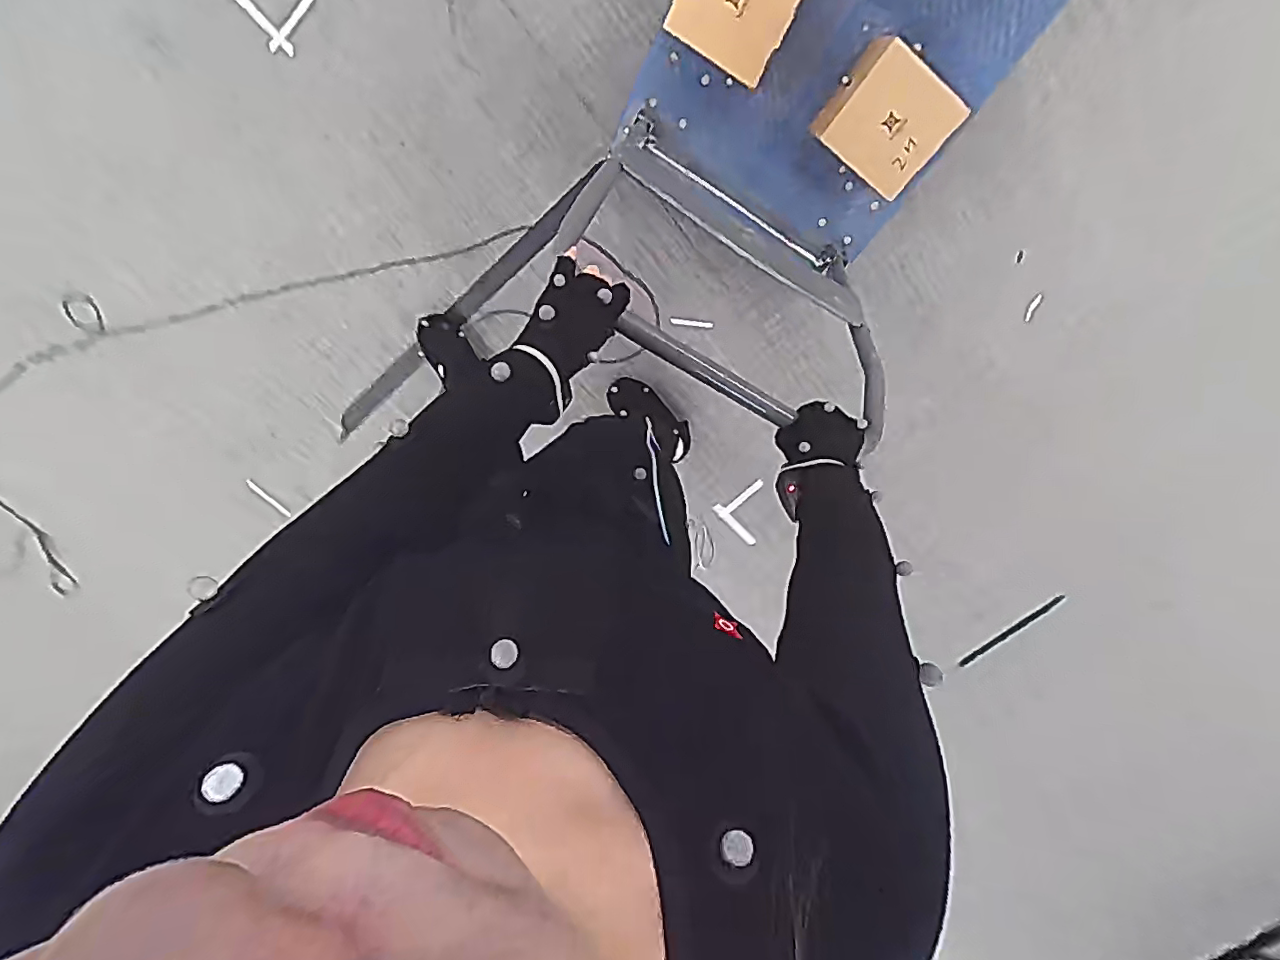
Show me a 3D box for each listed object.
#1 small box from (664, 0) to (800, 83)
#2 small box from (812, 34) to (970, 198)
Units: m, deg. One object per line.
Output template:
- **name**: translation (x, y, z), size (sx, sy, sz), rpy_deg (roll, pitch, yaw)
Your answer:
- **small box**: translation (0.157, -0.785, 0.880), size (0.179, 0.176, 0.168), rpy_deg (24, 128, -13)
- **small box**: translation (0.428, -0.640, 0.956), size (0.179, 0.176, 0.168), rpy_deg (31, 127, -16)
